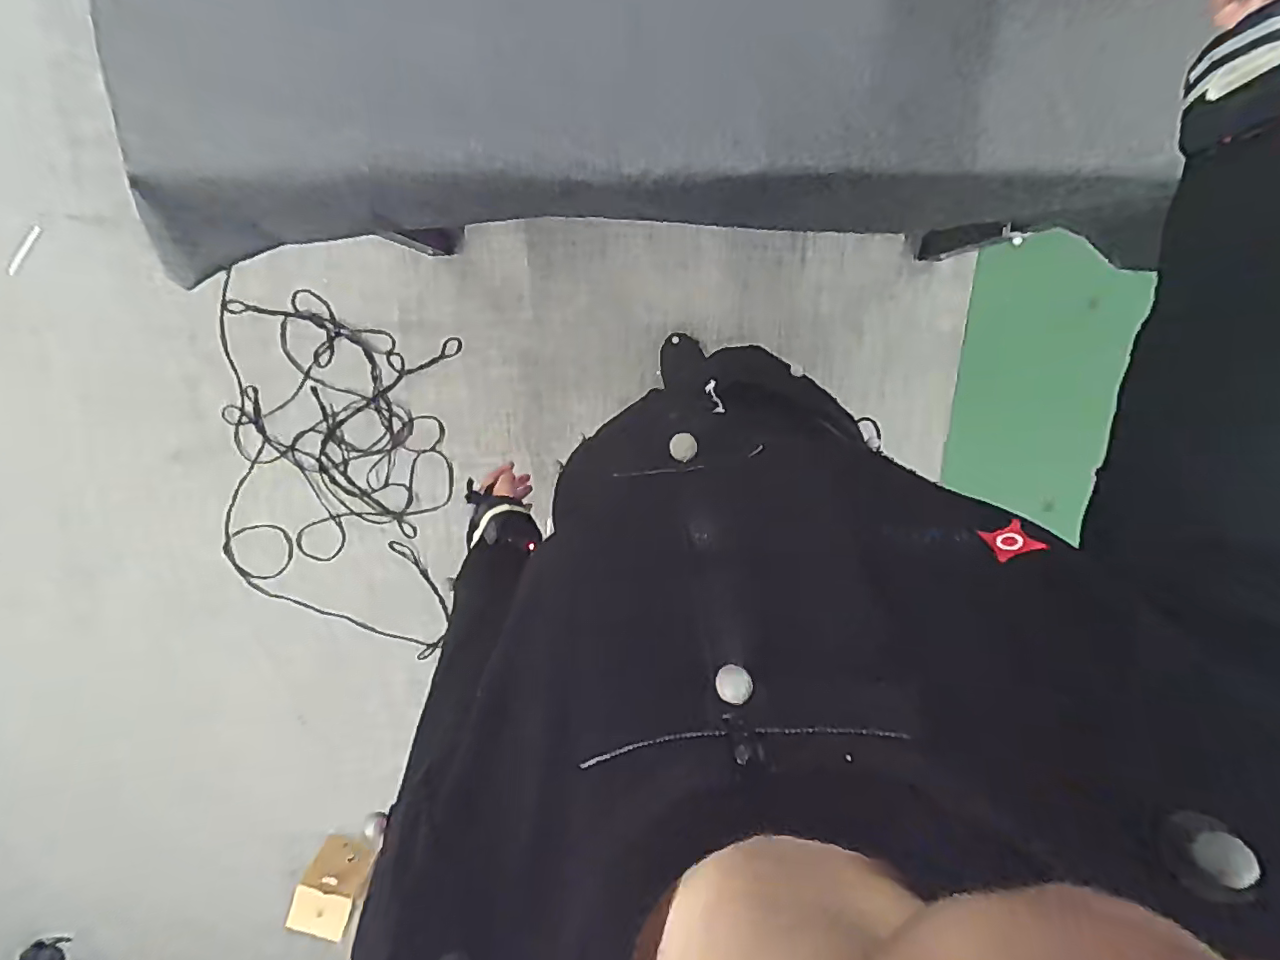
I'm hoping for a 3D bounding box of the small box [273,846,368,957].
[{"bbox_3d":[-0.942,1.248,1.608,0.168,0.176,0.179,21,103,-4],"label":"small box"}]
